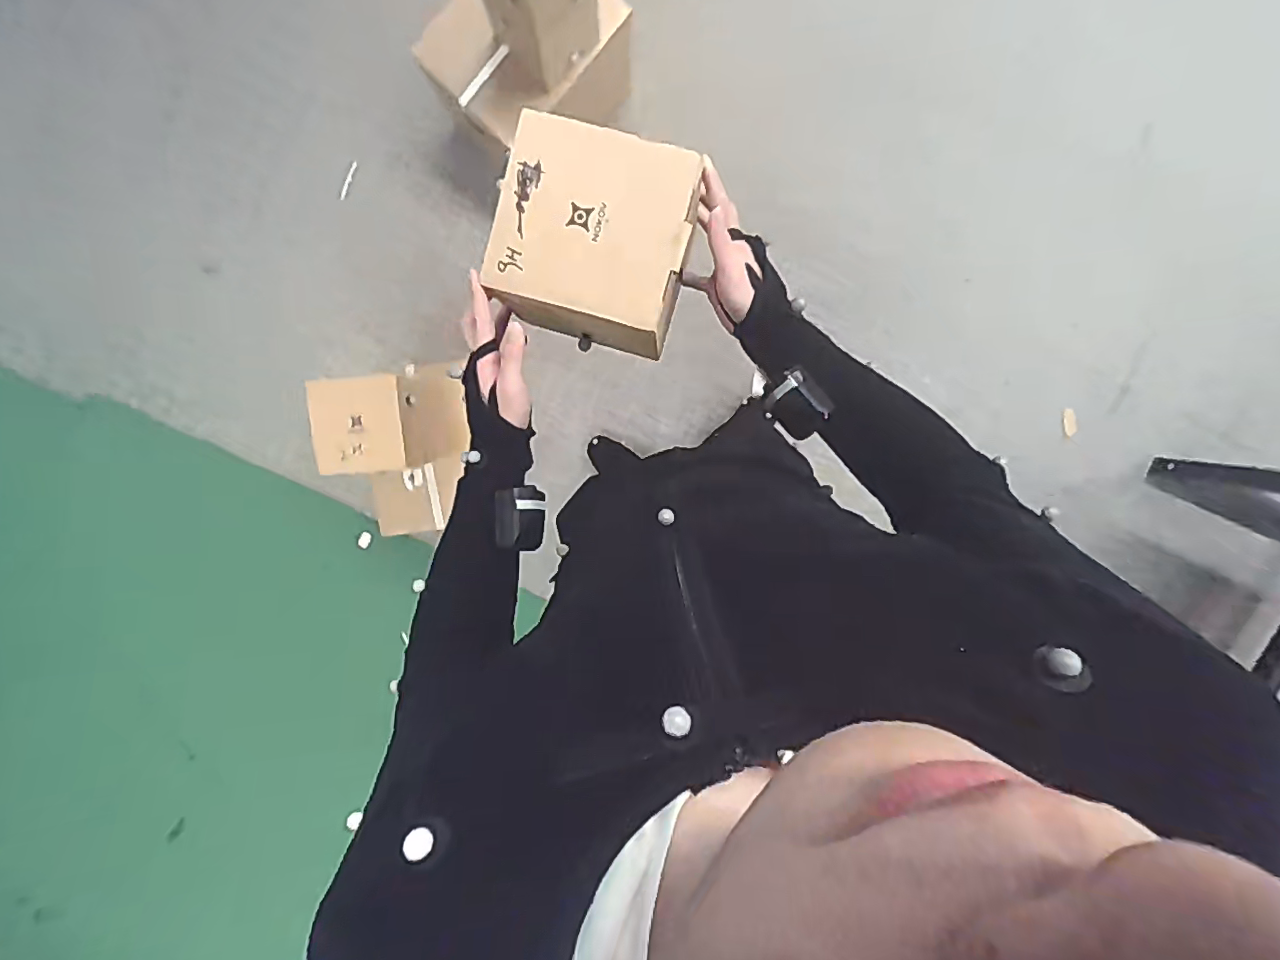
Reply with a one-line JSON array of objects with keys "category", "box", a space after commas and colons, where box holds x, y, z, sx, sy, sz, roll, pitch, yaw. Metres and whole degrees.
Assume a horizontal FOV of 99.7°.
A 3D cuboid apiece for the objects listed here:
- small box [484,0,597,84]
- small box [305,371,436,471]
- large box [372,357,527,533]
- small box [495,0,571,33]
[{"category": "small box", "box": [-0.206, -0.970, 1.101, 0.168, 0.176, 0.179, -44, 98, 6]}, {"category": "small box", "box": [-0.516, -0.116, 1.058, 0.168, 0.176, 0.179, -3, 99, 1]}, {"category": "large box", "box": [-0.520, -0.105, 1.475, 0.320, 0.320, 0.408, -8, 99, 2]}, {"category": "small box", "box": [-0.201, -0.939, 0.941, 0.179, 0.176, 0.168, 43, 96, -6]}]
